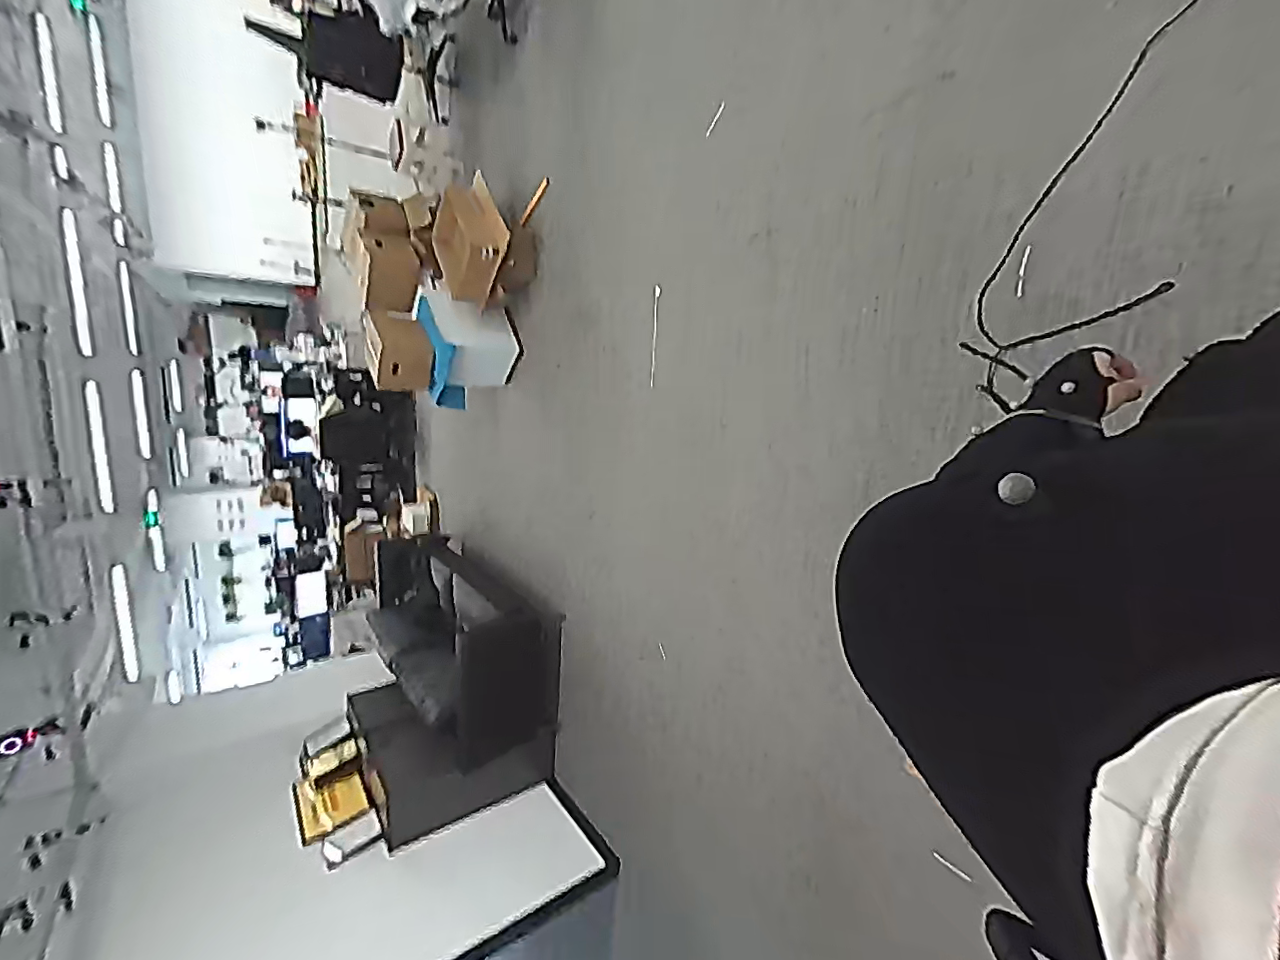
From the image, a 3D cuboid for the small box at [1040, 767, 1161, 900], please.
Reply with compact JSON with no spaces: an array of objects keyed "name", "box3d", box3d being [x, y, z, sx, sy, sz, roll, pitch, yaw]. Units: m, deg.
[{"name":"small box","box3d":[1.110,0.837,1.302,0.168,0.176,0.179,24,115,50]}]
